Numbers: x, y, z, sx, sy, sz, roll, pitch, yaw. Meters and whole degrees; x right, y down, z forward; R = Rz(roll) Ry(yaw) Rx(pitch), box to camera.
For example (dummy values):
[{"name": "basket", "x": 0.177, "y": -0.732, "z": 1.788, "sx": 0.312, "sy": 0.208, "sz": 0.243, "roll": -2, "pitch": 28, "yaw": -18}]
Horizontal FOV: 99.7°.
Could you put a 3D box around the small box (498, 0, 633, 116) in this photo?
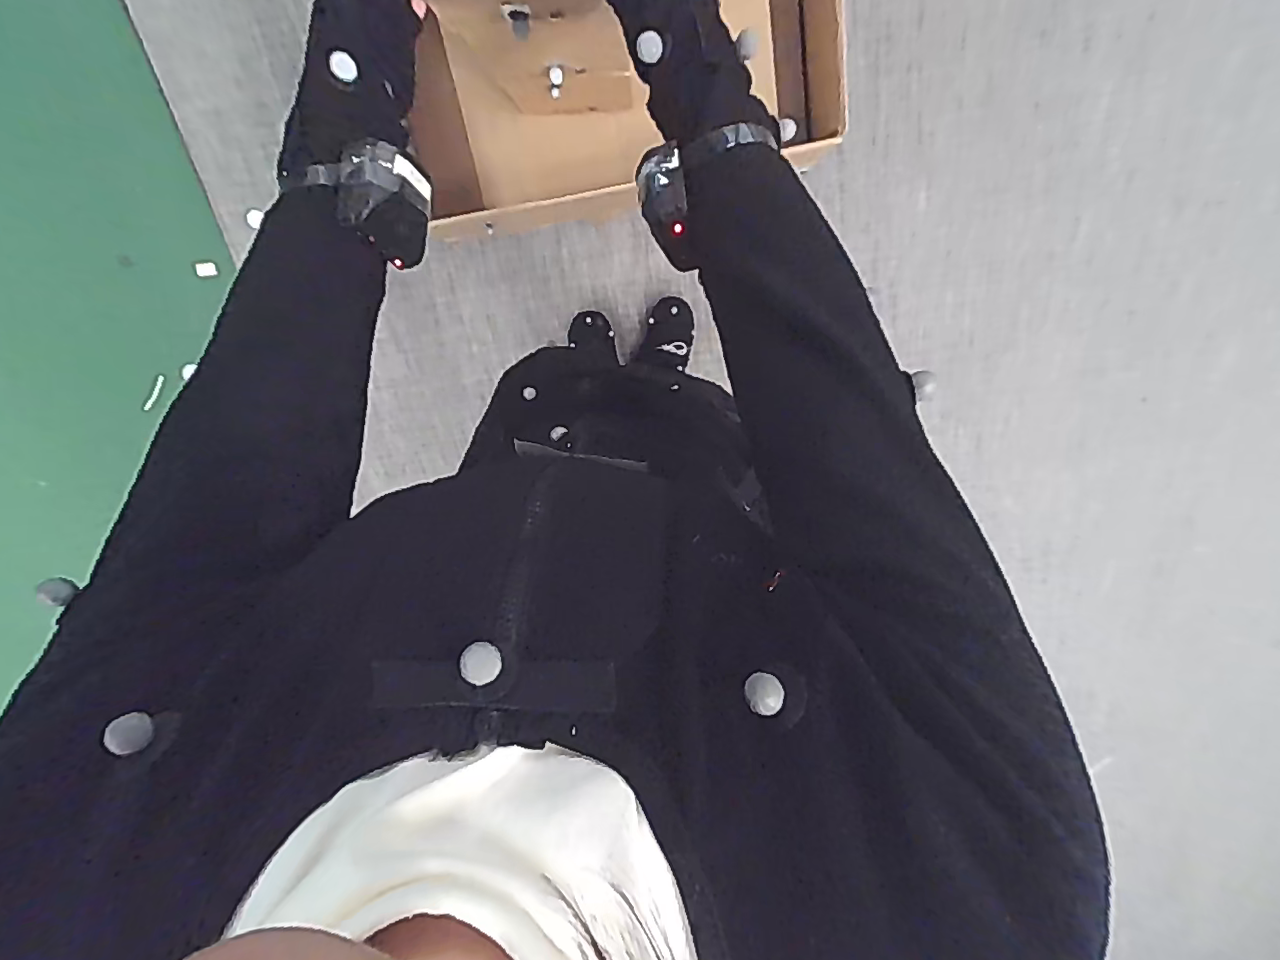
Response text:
[{"name": "small box", "x": -0.096, "y": -0.602, "z": 0.705, "sx": 0.168, "sy": 0.176, "sz": 0.179, "roll": -2, "pitch": 111, "yaw": 2}]

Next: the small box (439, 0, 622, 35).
[{"name": "small box", "x": -0.103, "y": -0.478, "z": 0.404, "sx": 0.168, "sy": 0.176, "sz": 0.179, "roll": -5, "pitch": 112, "yaw": 2}]

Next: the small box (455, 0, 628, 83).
[{"name": "small box", "x": -0.101, "y": -0.541, "z": 0.553, "sx": 0.168, "sy": 0.176, "sz": 0.179, "roll": -5, "pitch": 112, "yaw": 2}]
